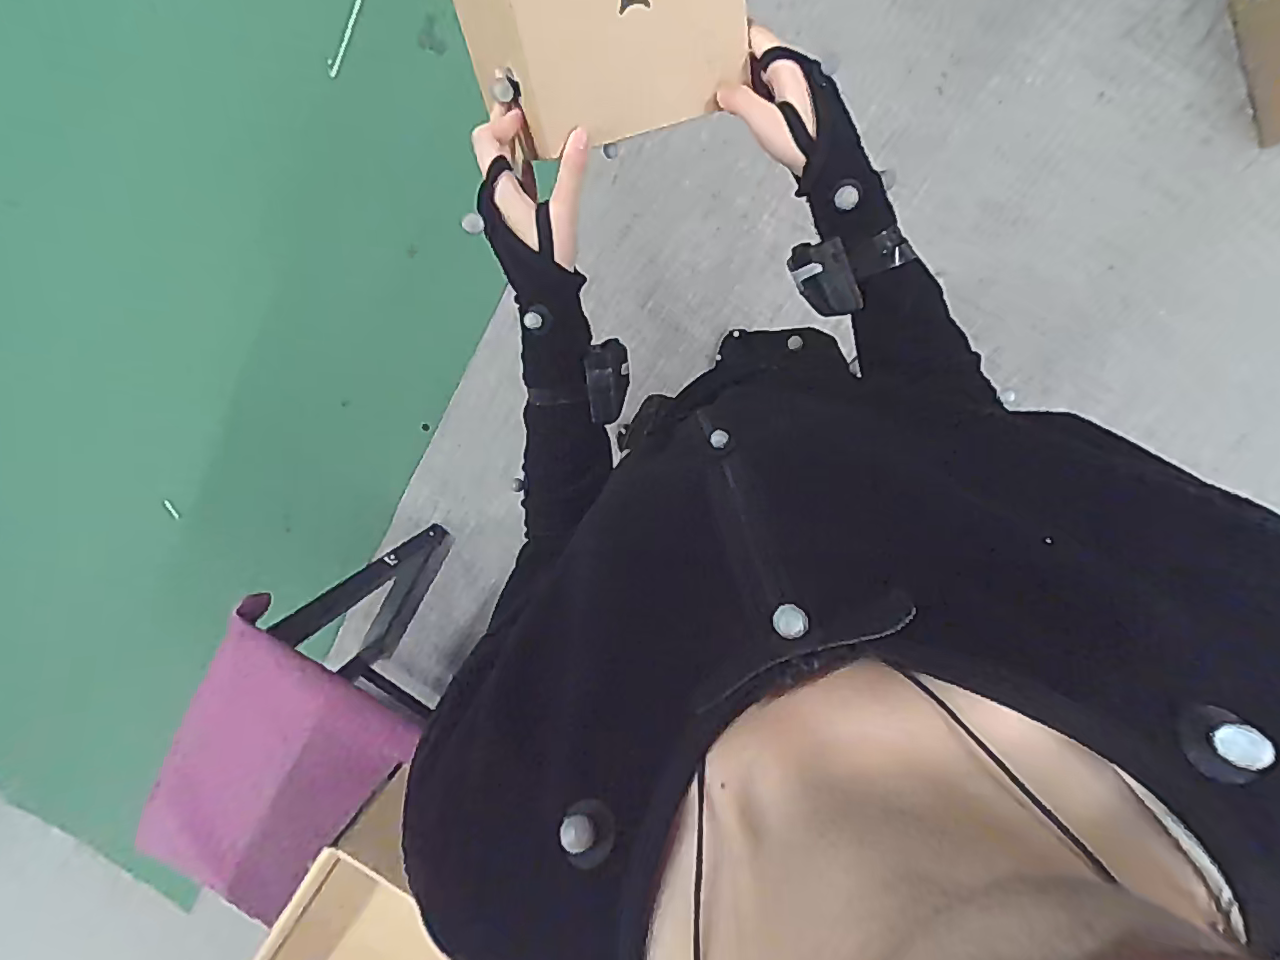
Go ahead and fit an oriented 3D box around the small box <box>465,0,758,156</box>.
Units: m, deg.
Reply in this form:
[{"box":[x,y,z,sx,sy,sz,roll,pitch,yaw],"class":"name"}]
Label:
[{"box":[-0.032,-0.359,0.404,0.168,0.176,0.179,-23,124,-13],"class":"small box"}]
